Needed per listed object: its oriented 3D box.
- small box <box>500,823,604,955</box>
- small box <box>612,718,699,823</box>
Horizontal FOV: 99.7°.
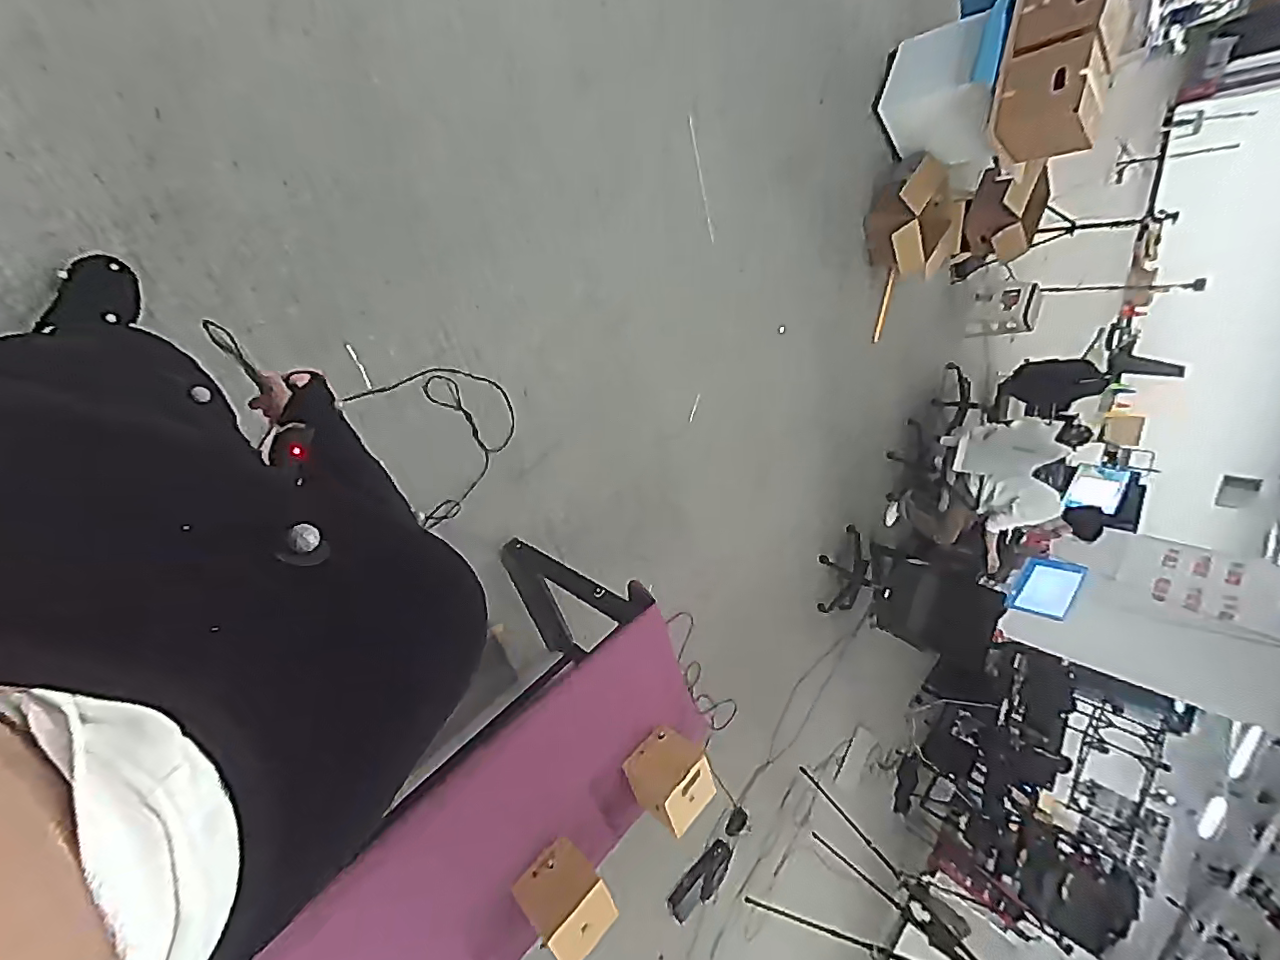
[{"bbox_3d":[-0.219,1.012,1.353,0.168,0.176,0.179,-34,124,-33],"label":"small box"},{"bbox_3d":[0.042,0.814,1.540,0.168,0.176,0.179,-35,125,-31],"label":"small box"}]
